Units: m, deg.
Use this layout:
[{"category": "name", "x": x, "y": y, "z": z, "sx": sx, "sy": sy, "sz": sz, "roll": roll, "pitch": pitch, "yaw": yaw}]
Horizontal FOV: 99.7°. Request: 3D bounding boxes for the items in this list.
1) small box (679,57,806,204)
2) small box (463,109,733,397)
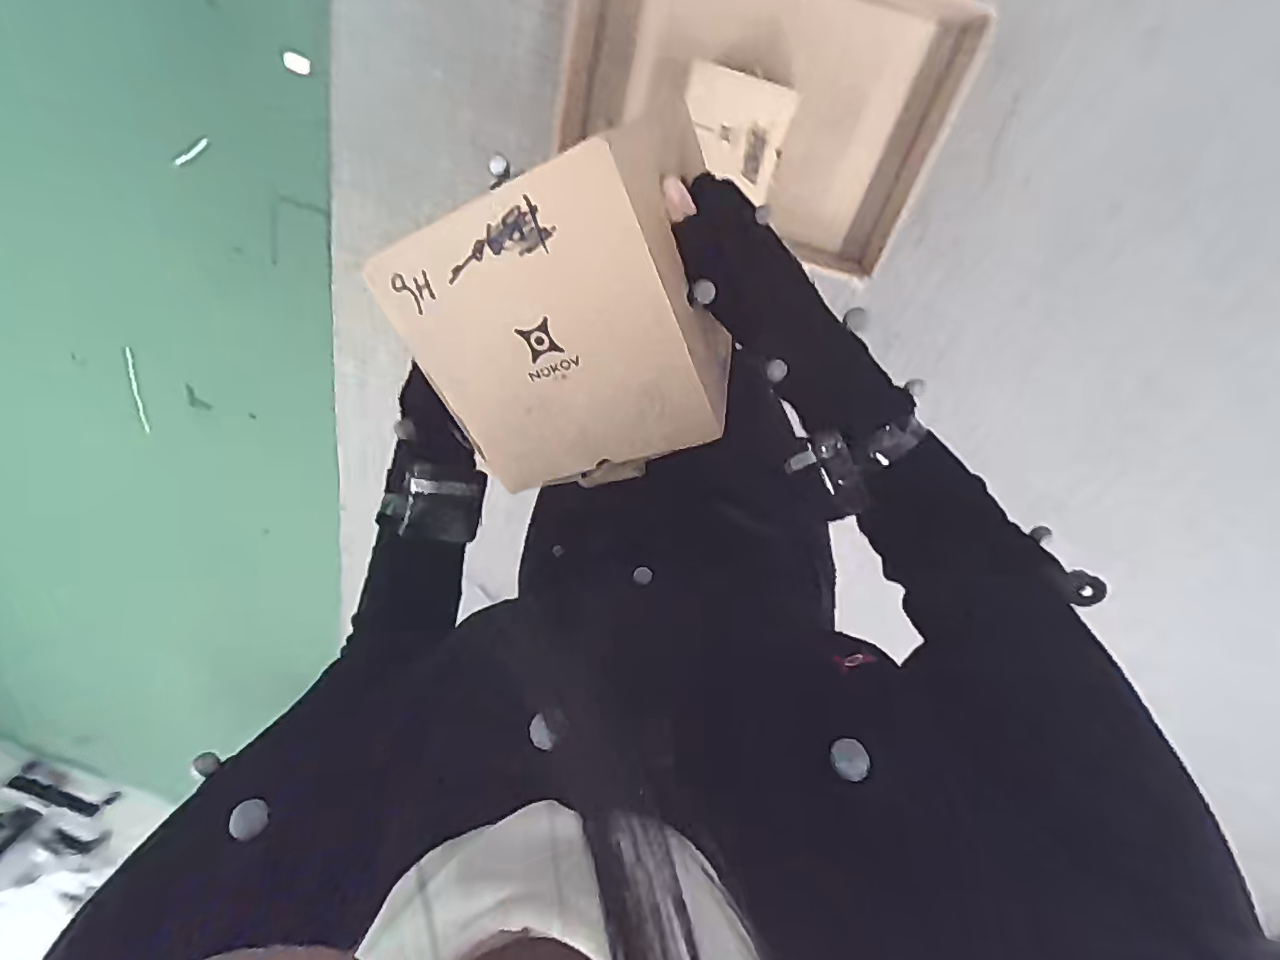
[{"category": "small box", "x": 0.171, "y": -0.604, "z": 0.941, "sx": 0.179, "sy": 0.176, "sz": 0.168, "roll": 20, "pitch": 124, "yaw": 2}, {"category": "small box", "x": -0.021, "y": -0.213, "z": 0.509, "sx": 0.168, "sy": 0.176, "sz": 0.179, "roll": -19, "pitch": 120, "yaw": 26}]
